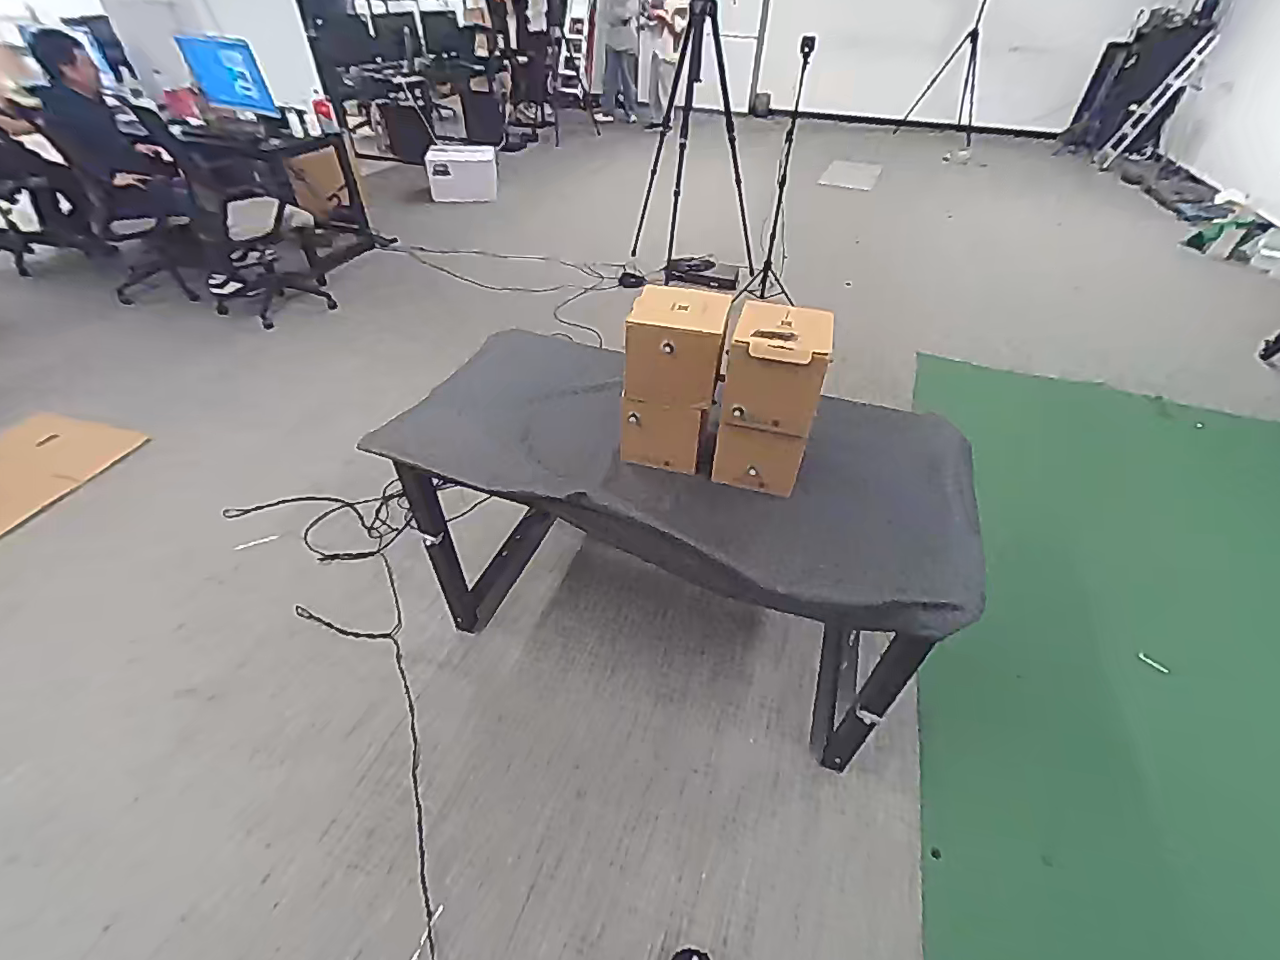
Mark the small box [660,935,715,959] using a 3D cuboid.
[{"bbox_3d":[0.083,1.009,0.984,0.179,0.176,0.168,-3,12,-40],"label":"small box"}]
